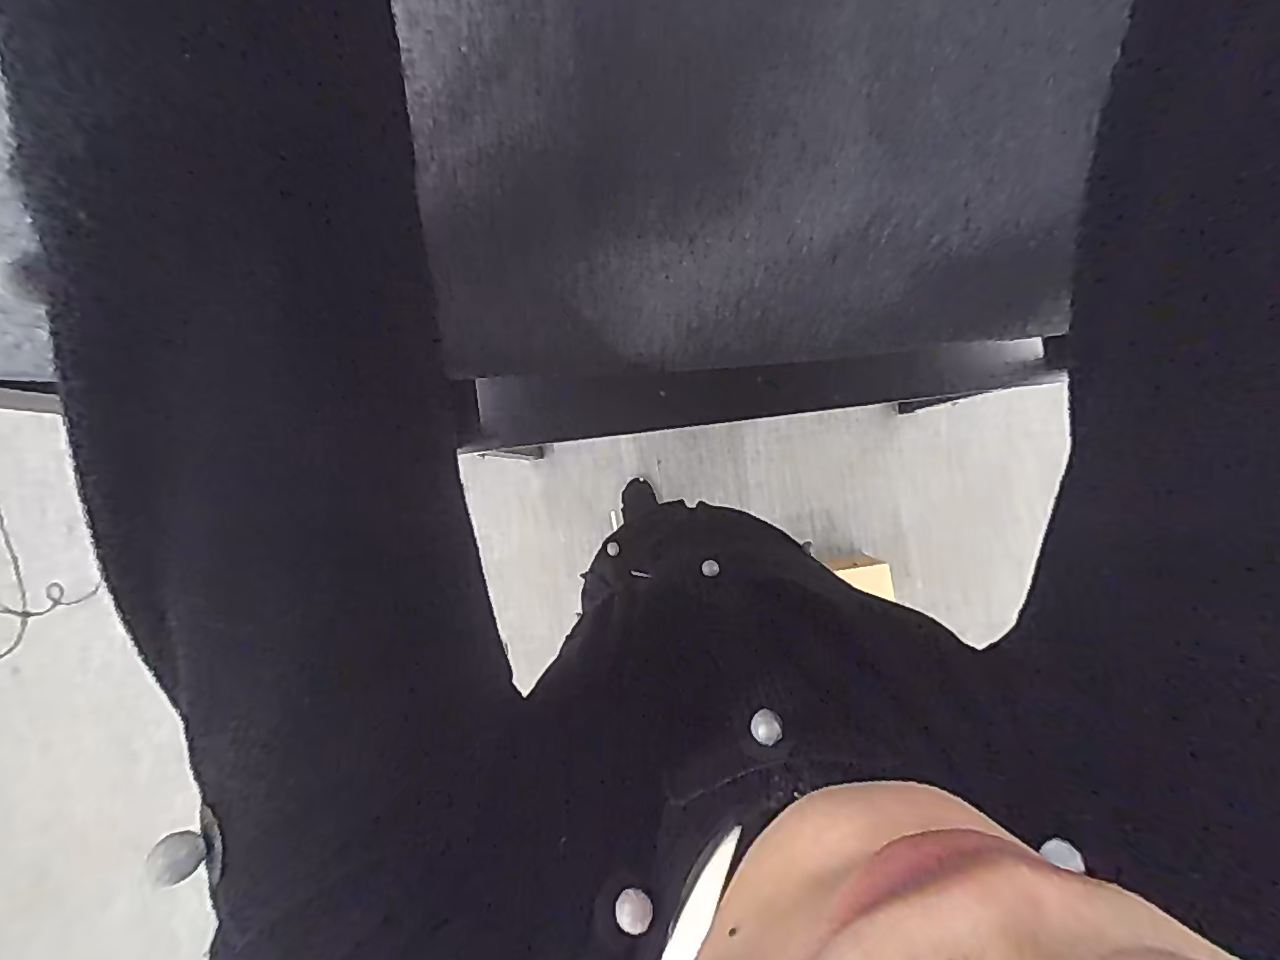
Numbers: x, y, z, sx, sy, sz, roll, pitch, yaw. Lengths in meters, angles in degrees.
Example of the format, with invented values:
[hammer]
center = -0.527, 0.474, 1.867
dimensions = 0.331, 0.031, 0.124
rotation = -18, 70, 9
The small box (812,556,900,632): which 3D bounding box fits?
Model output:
[small box]
center = 0.613, 0.321, 1.550
dimensions = 0.179, 0.176, 0.168
rotation = -9, 90, 3
